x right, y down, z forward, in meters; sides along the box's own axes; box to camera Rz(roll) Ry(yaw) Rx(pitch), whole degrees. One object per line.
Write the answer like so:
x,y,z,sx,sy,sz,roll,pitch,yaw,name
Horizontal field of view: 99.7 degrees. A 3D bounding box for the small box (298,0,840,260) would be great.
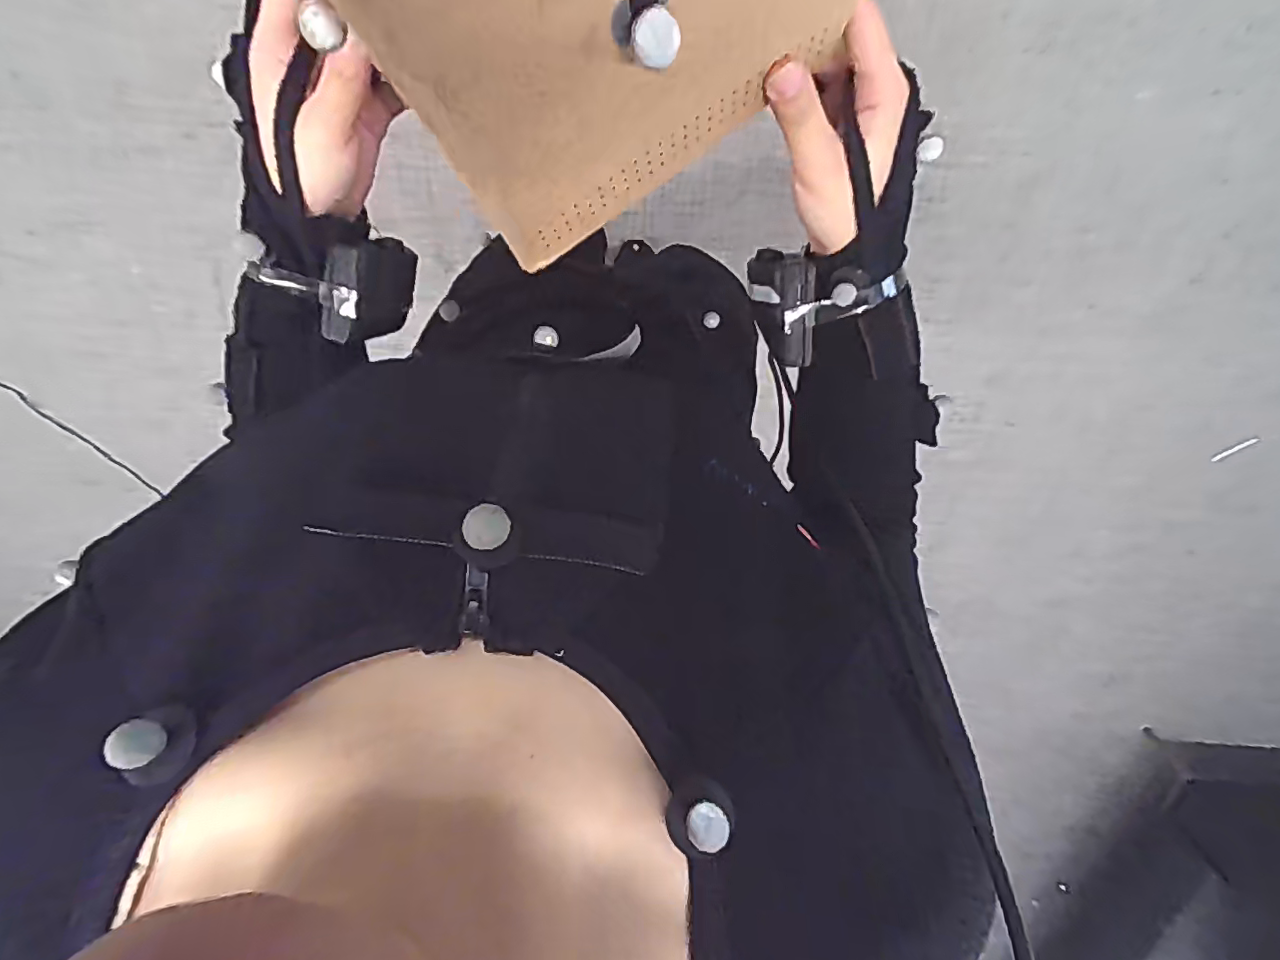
-0.030,-0.208,0.177,0.179,0.176,0.168,-34,90,5,small box
